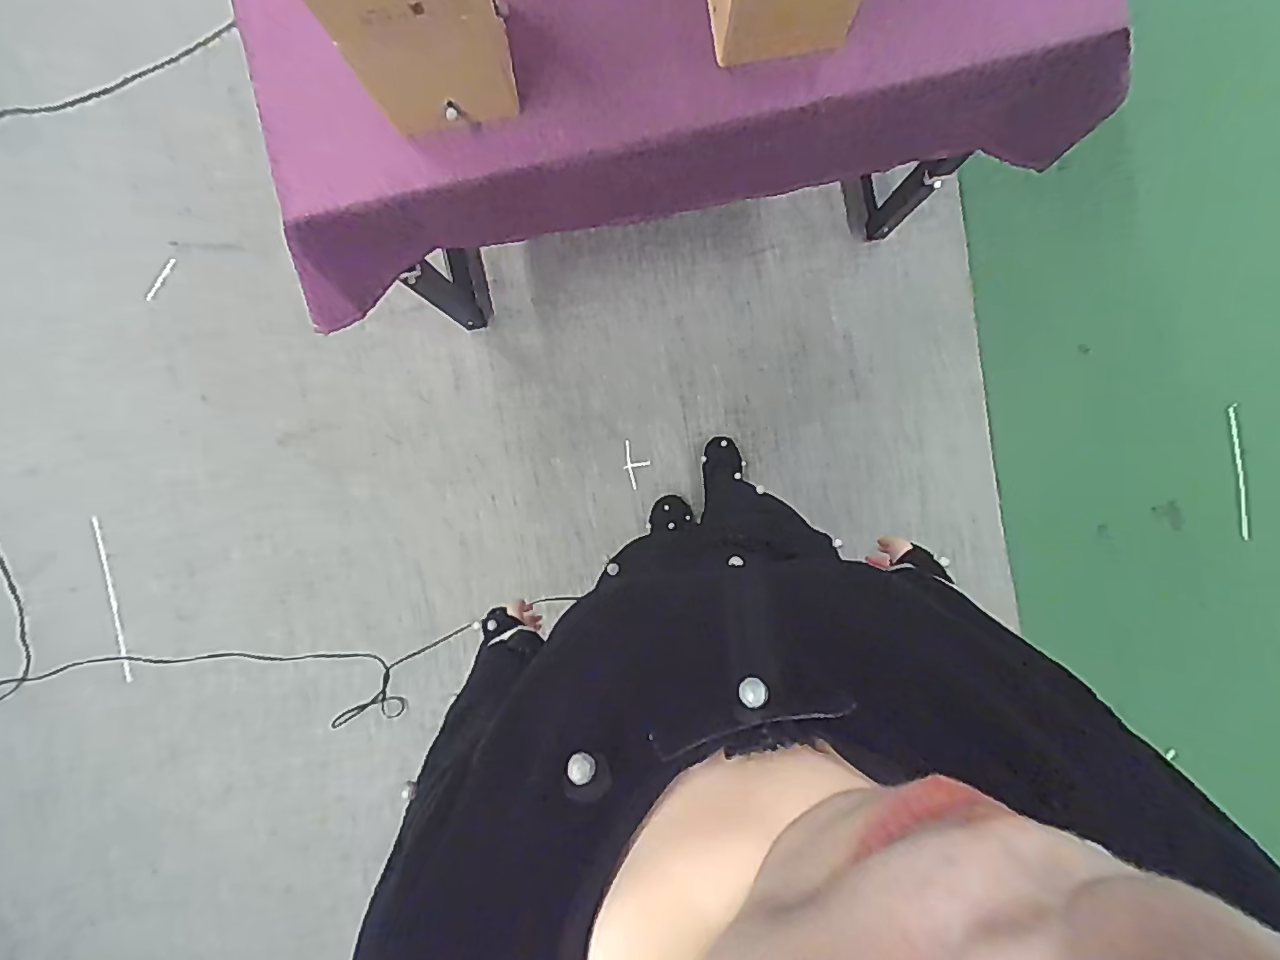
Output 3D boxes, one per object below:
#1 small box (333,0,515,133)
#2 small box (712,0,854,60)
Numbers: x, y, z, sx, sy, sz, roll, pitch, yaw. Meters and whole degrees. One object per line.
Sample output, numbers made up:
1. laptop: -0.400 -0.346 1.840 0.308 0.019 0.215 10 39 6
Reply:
1. small box: -0.266 -0.578 0.681 0.179 0.176 0.168 -10 91 1
2. small box: 0.178 -0.666 0.668 0.179 0.176 0.168 -9 91 1
